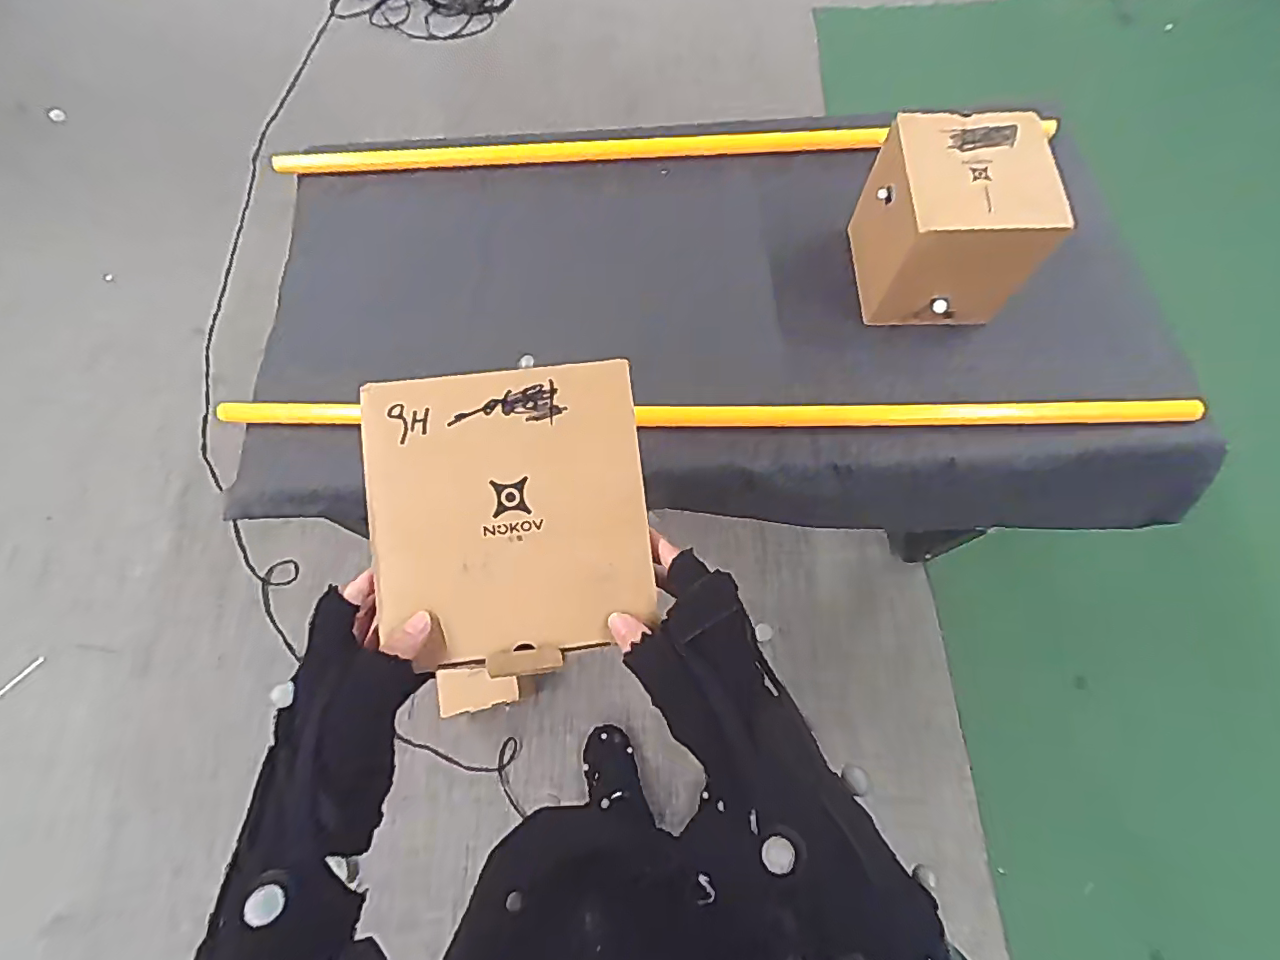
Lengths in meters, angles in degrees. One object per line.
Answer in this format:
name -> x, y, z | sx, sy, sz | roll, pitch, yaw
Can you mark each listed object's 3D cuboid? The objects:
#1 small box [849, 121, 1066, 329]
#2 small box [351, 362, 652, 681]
small box -> 0.380, -0.316, 0.686 | 0.168, 0.176, 0.179 | 0, 70, 2
small box -> -0.086, 0.028, 0.410 | 0.168, 0.176, 0.179 | -10, 85, -3
